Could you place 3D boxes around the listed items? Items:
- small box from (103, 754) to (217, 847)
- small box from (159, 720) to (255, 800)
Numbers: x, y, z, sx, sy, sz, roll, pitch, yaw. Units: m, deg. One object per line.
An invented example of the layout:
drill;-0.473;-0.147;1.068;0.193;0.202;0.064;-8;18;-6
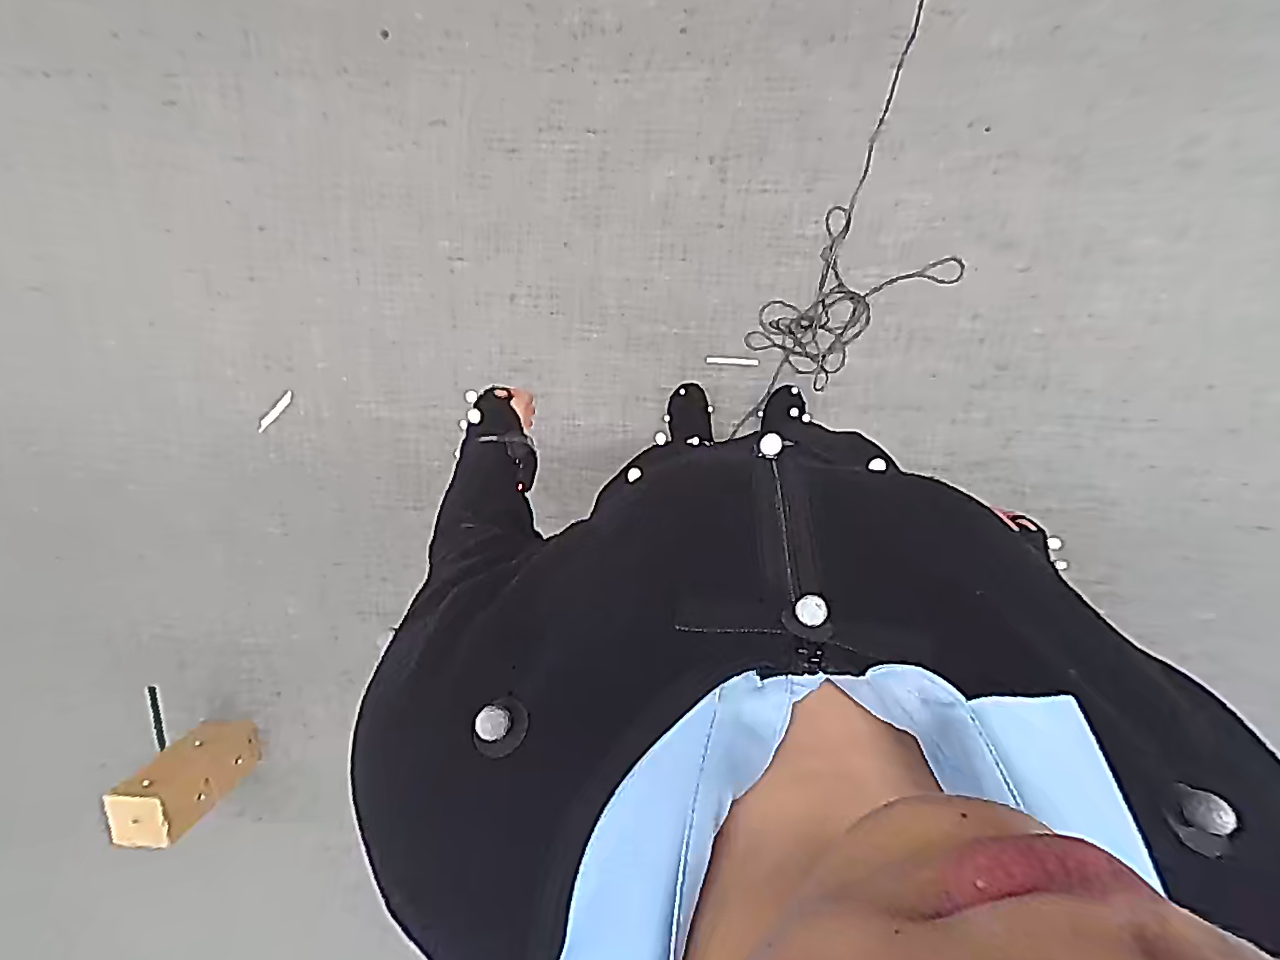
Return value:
small box;-1.407;0.939;1.596;0.179;0.176;0.168;0;102;4
small box;-1.392;0.905;1.755;0.179;0.176;0.168;0;102;6
